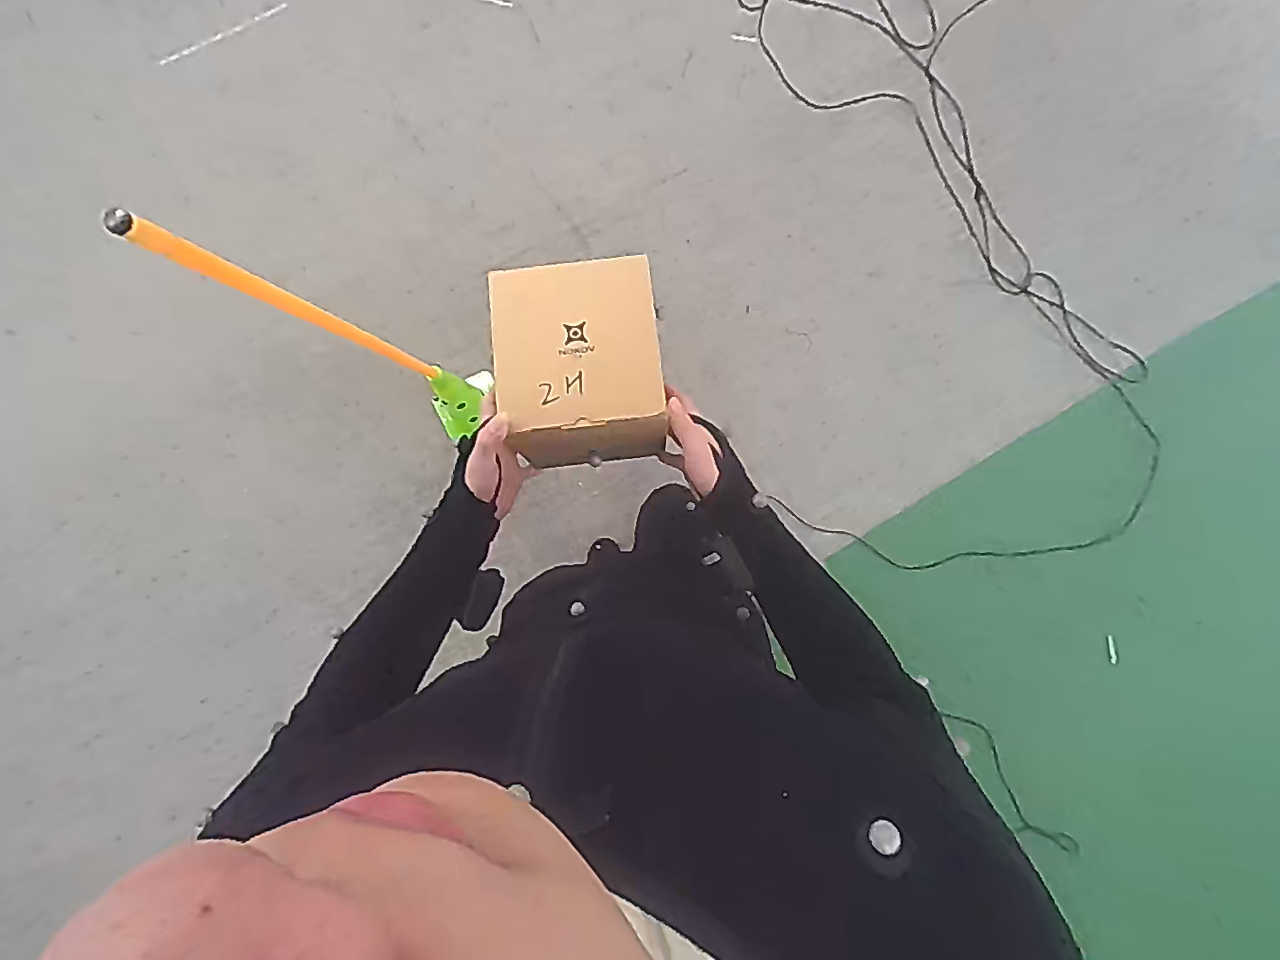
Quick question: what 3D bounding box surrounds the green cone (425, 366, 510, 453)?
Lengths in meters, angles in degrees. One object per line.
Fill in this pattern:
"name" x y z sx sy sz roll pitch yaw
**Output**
"green cone" -0.513 -0.228 1.482 0.202 0.368 0.200 -29 85 -7
